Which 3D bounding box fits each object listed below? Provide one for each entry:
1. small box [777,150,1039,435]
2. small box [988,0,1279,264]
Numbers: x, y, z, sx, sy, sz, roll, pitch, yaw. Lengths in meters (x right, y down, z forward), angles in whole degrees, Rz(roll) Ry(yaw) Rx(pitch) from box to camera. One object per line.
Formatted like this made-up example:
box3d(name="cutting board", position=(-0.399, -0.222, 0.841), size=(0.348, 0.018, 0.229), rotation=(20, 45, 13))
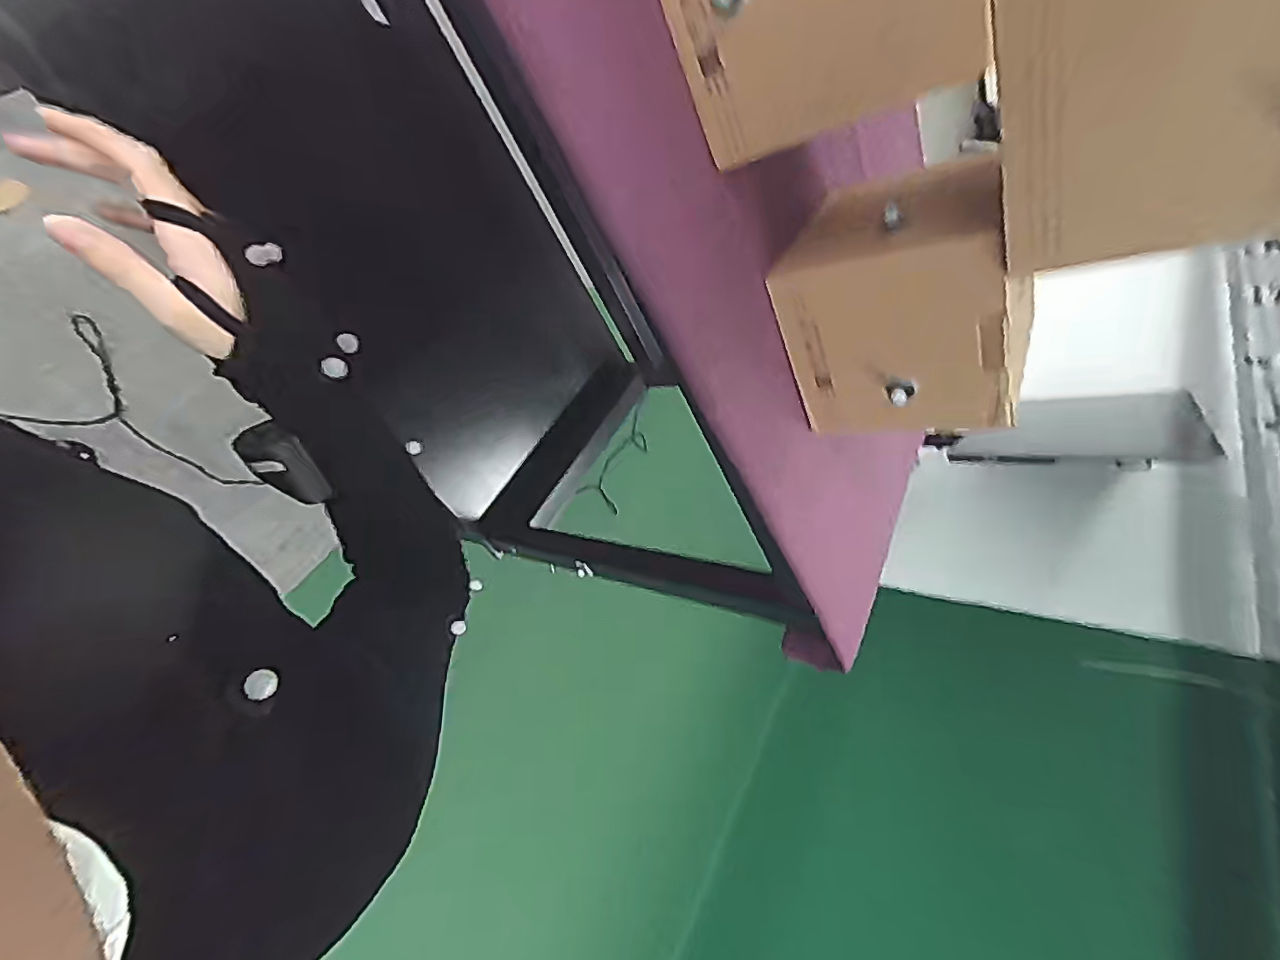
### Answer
box3d(name="small box", position=(0.235, -0.153, 0.473), size=(0.179, 0.176, 0.168), rotation=(-54, 131, -33))
box3d(name="small box", position=(0.296, -0.234, 0.283), size=(0.168, 0.176, 0.179), rotation=(-56, 131, -31))
